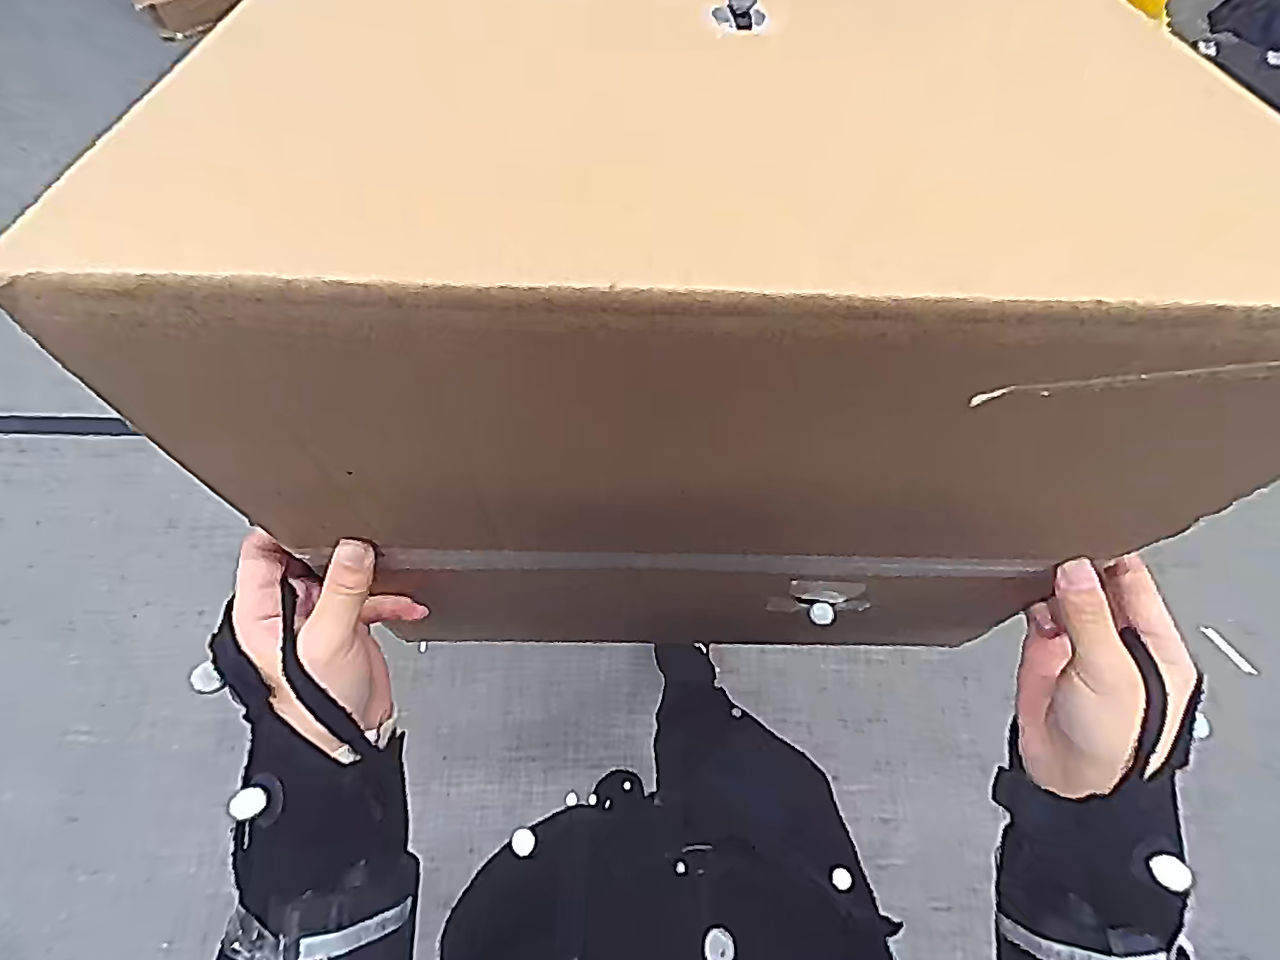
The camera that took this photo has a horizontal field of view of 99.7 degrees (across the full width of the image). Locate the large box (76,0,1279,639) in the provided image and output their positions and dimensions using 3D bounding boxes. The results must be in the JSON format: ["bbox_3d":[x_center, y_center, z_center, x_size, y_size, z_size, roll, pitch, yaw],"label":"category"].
[{"bbox_3d":[0.031,-0.092,0.357,0.408,0.320,0.320,0,59,-2],"label":"large box"}]
